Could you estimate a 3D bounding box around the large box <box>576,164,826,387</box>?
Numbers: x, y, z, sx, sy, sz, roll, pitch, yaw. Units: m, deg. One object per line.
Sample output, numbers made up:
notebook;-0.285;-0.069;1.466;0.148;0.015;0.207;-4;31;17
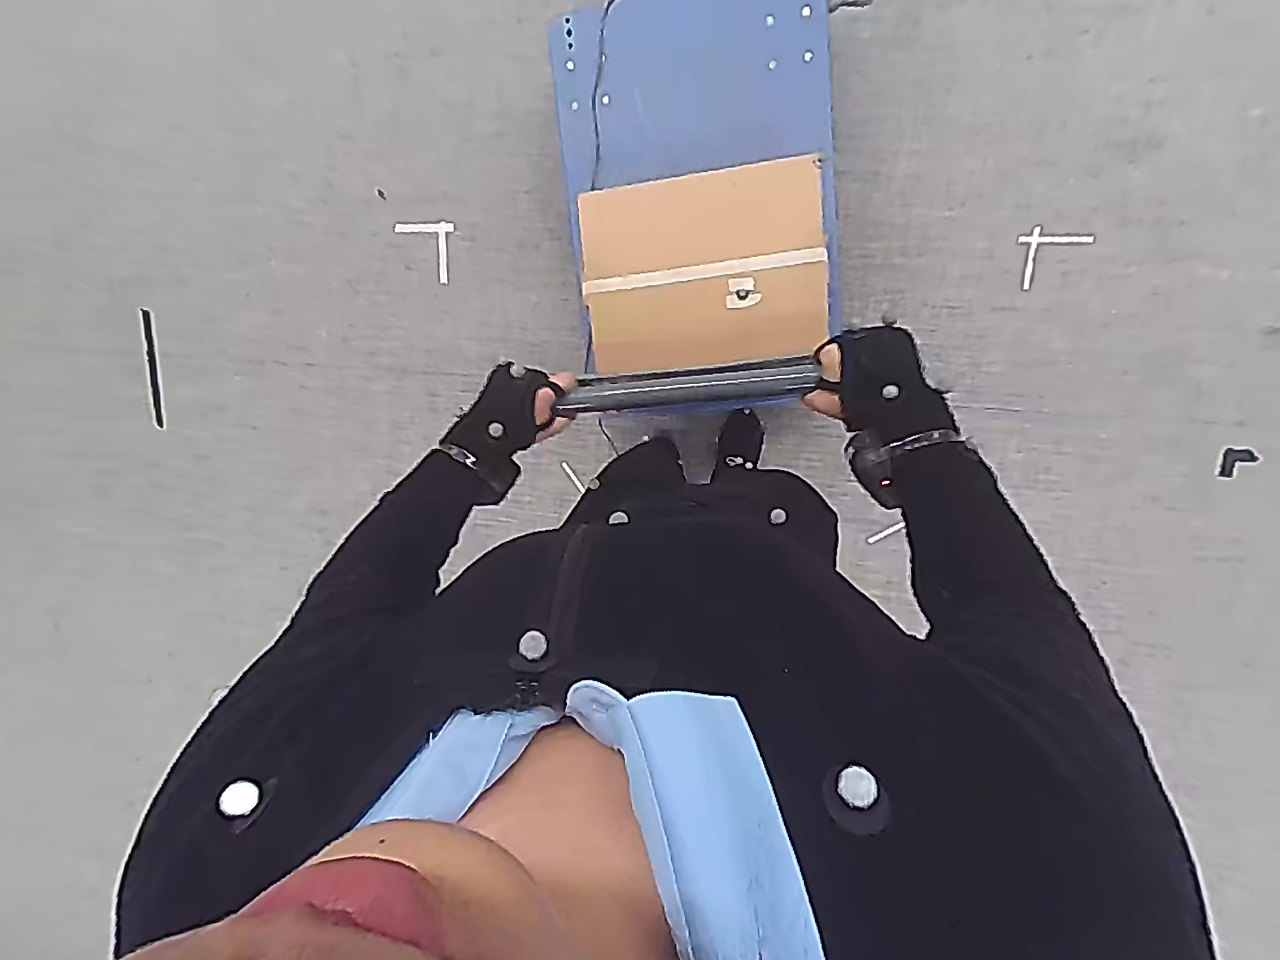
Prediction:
large box;0.121;-0.358;1.053;0.408;0.320;0.320;-4;99;9
